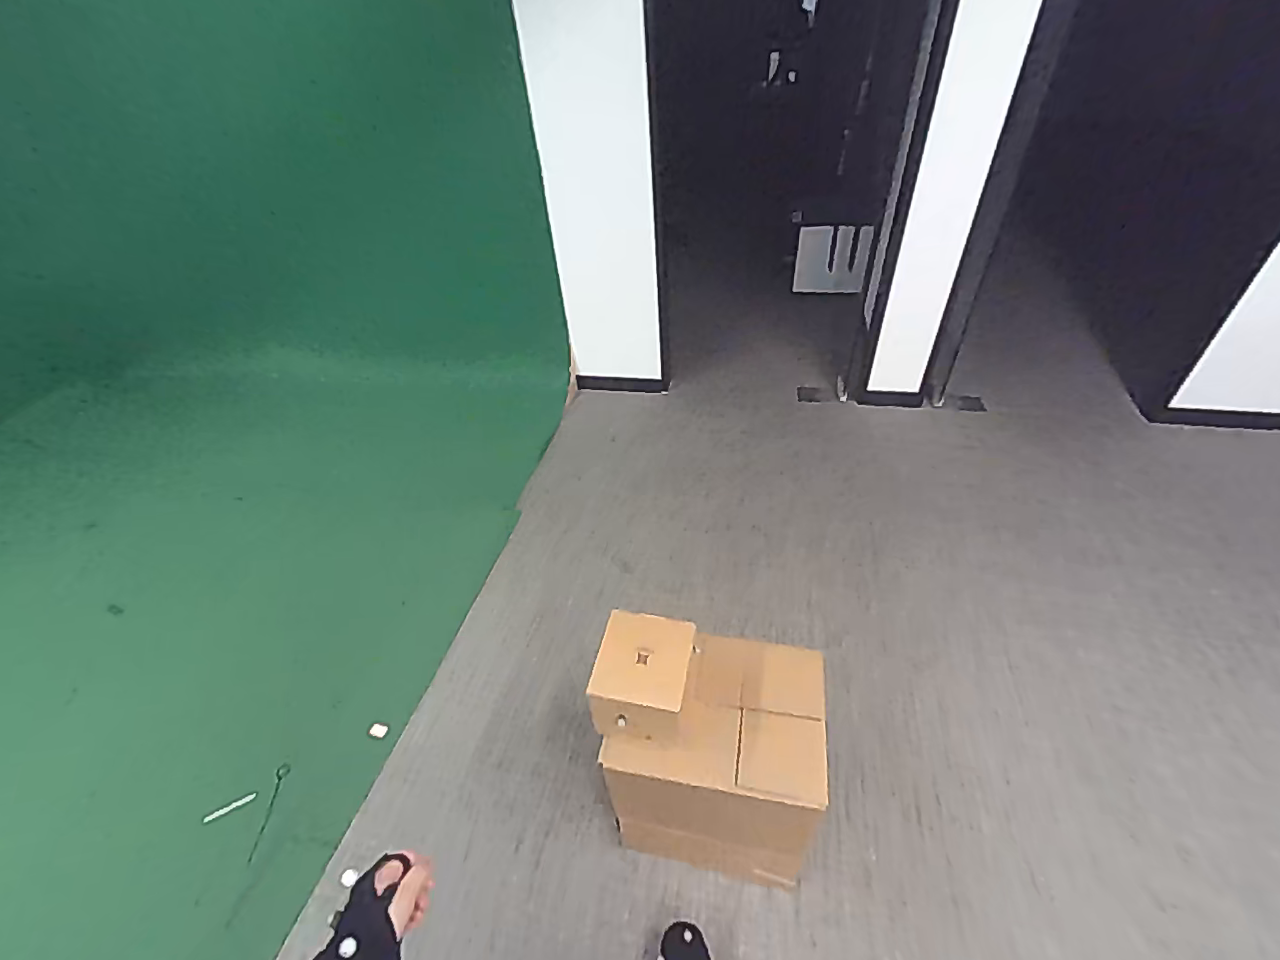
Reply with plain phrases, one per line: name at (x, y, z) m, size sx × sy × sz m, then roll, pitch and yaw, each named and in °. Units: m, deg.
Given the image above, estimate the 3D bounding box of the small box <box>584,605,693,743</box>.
small box at (0.007, 0.368, 1.023) m, size 0.168 × 0.176 × 0.179 m, roll 8°, pitch 44°, yaw 12°
